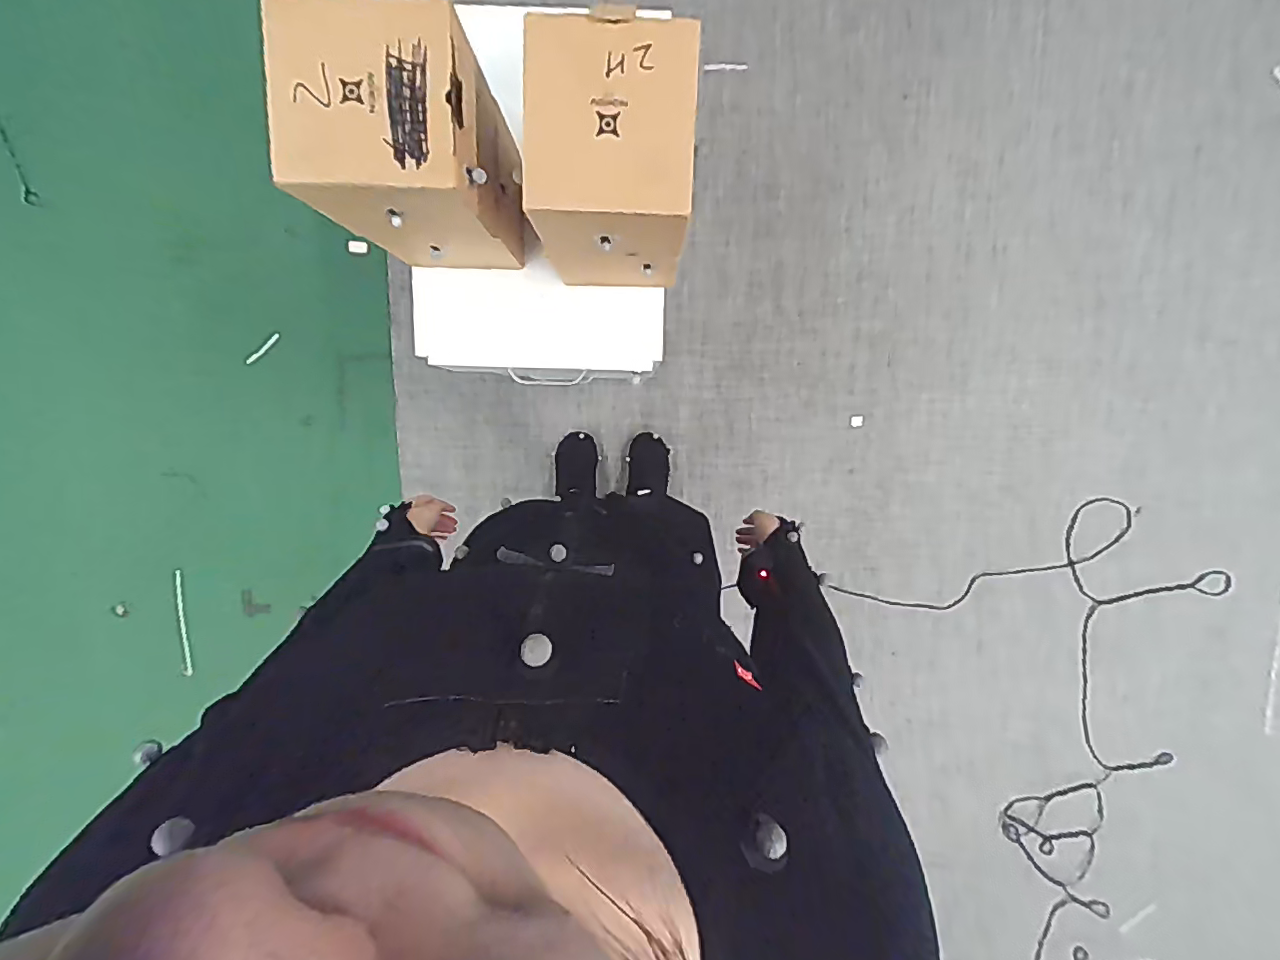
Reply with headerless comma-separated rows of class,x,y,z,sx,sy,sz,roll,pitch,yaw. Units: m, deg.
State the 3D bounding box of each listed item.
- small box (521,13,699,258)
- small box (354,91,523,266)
small box,-0.031,-0.355,0.592,0.168,0.176,0.179,2,98,-2
small box,-0.265,-0.401,0.749,0.179,0.176,0.168,0,99,-2
